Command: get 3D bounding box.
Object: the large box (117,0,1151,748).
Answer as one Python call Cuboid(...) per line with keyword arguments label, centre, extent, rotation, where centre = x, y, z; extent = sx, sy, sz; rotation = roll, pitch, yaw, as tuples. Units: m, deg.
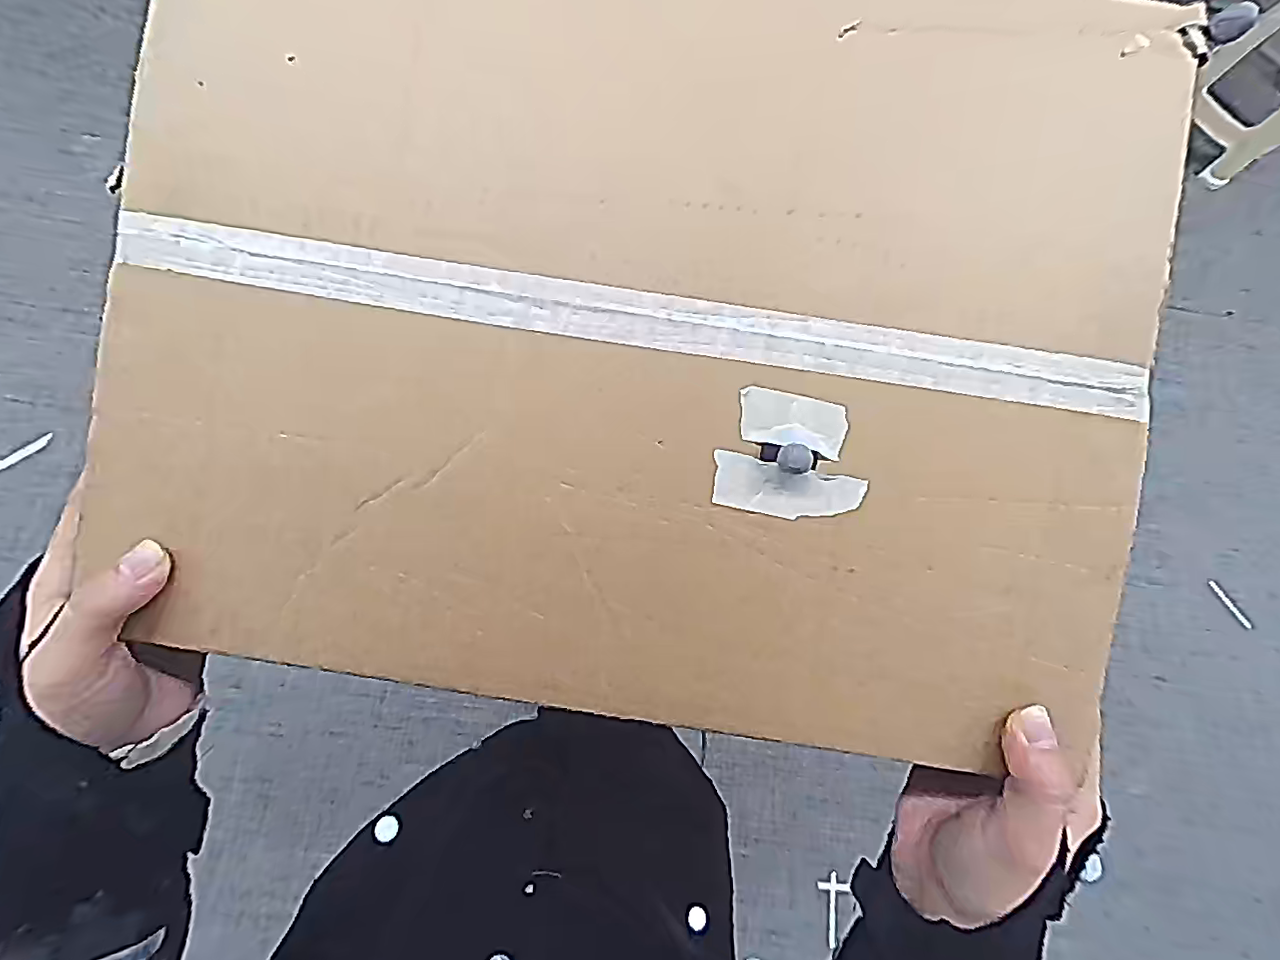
Cuboid(label="large box", centre=(-0.002, -0.062, 0.374), extent=(0.408, 0.320, 0.320), rotation=(9, 91, -1))
